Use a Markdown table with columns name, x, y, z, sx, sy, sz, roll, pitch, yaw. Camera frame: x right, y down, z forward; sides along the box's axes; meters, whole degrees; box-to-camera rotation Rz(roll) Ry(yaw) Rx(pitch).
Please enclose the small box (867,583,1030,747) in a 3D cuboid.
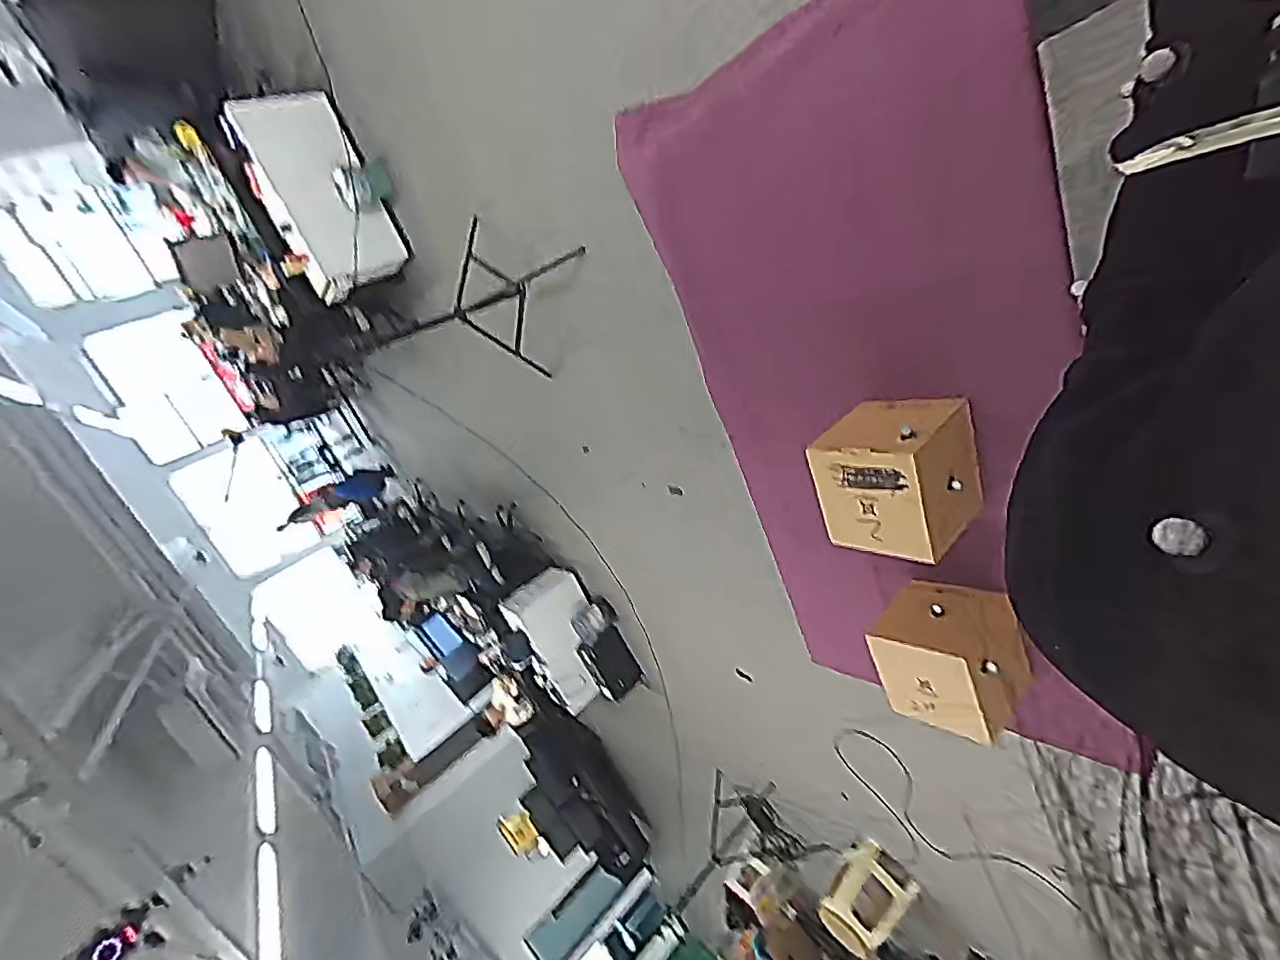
| name | x | y | z | sx | sy | sz | roll | pitch | yaw |
| --- | --- | --- | --- | --- | --- | --- | --- | --- | --- |
| small box | 0.521 | 0.296 | 0.911 | 0.168 | 0.176 | 0.179 | -1 | 119 | 57 |
